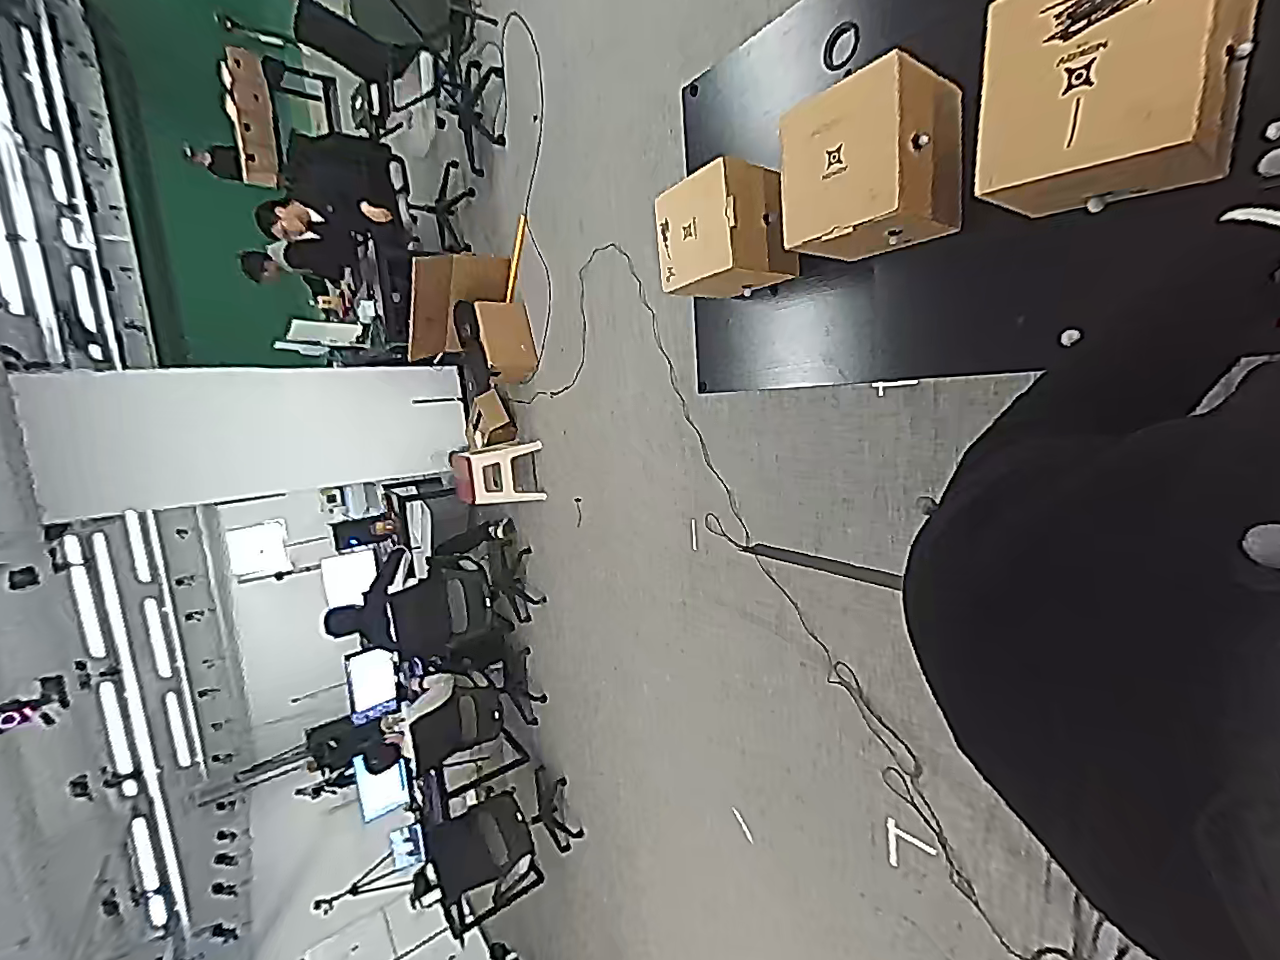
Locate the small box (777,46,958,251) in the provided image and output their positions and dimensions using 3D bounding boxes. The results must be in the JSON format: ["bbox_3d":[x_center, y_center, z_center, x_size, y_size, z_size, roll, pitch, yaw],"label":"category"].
[{"bbox_3d":[0.303,-0.416,0.722,0.168,0.176,0.179,6,102,52],"label":"small box"}]

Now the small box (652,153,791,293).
[{"bbox_3d":[0.145,-0.427,0.930,0.179,0.176,0.168,4,101,52],"label":"small box"}]

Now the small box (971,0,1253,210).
[{"bbox_3d":[0.453,-0.383,0.525,0.168,0.176,0.179,14,110,52],"label":"small box"}]
